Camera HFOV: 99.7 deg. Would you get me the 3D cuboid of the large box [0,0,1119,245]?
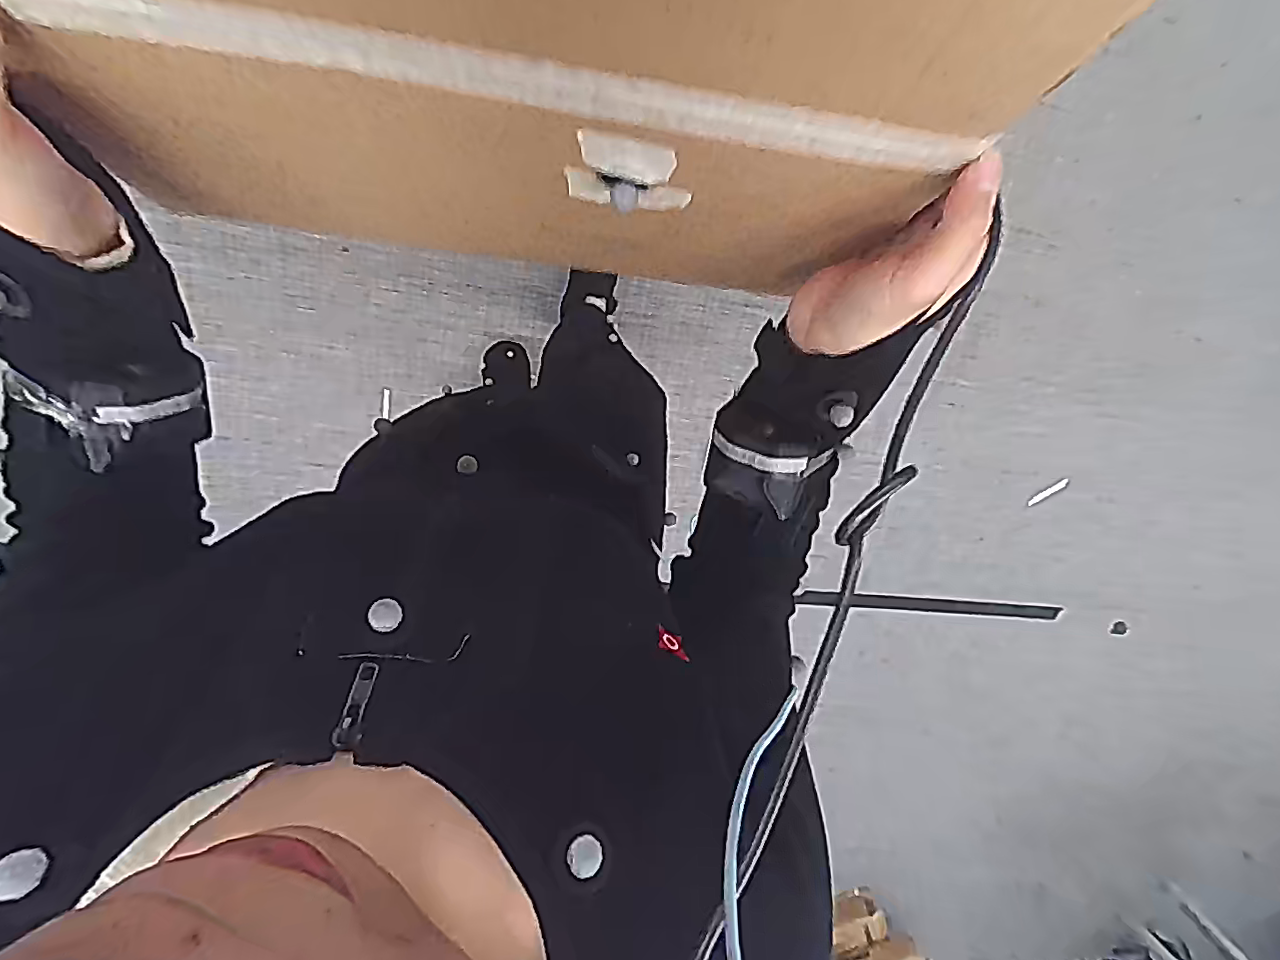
[{"bbox_3d":[-0.041,-0.315,0.173,0.408,0.320,0.320,5,88,-5],"label":"large box"}]
